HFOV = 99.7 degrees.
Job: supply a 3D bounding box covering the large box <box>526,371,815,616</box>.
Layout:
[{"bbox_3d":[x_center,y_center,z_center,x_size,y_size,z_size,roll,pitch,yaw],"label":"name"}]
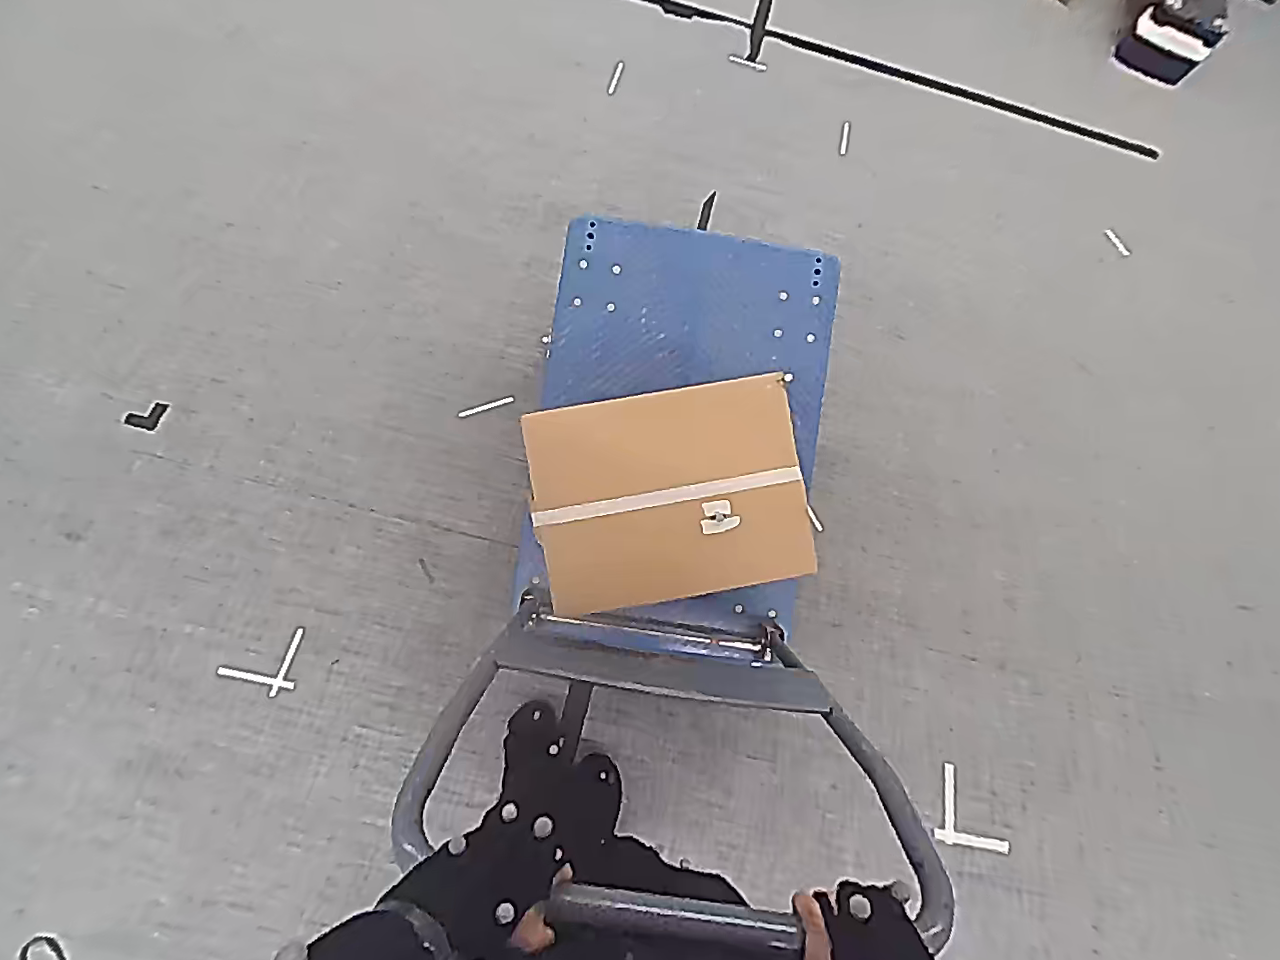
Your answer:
[{"bbox_3d":[0.041,0.023,0.968,0.408,0.320,0.320,-10,90,-3],"label":"large box"}]
